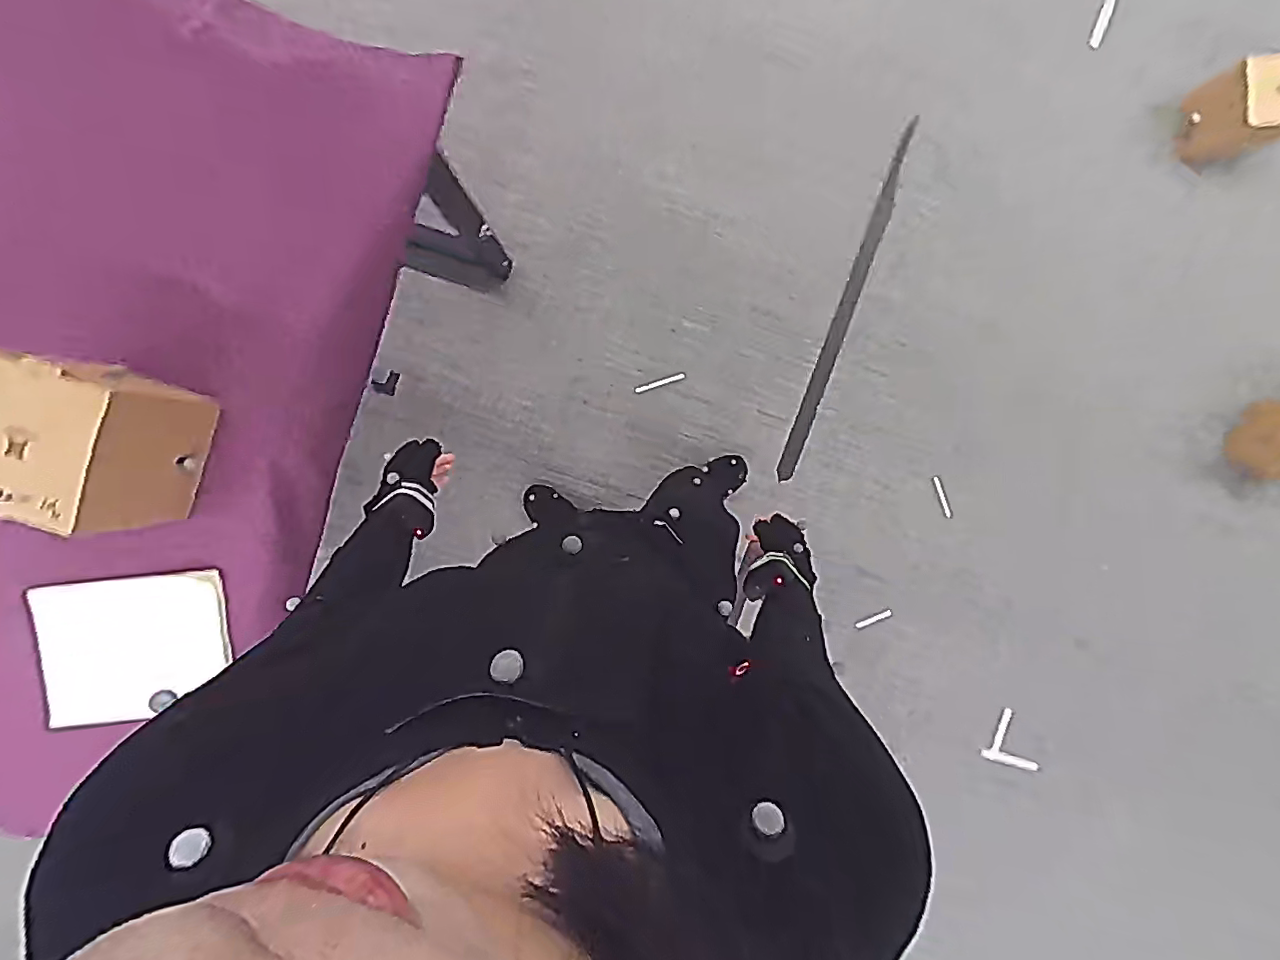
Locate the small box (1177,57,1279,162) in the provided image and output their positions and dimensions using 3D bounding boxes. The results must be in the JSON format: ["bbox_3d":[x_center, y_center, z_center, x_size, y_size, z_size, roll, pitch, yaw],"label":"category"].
[{"bbox_3d":[1.564,-0.955,1.404,0.179,0.176,0.168,-4,92,0],"label":"small box"}]

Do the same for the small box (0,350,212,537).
[{"bbox_3d":[-0.691,-0.045,0.676,0.168,0.176,0.179,18,91,-1],"label":"small box"}]

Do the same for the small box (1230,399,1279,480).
[{"bbox_3d":[1.766,-0.107,1.451,0.168,0.176,0.179,31,91,-4],"label":"small box"}]
